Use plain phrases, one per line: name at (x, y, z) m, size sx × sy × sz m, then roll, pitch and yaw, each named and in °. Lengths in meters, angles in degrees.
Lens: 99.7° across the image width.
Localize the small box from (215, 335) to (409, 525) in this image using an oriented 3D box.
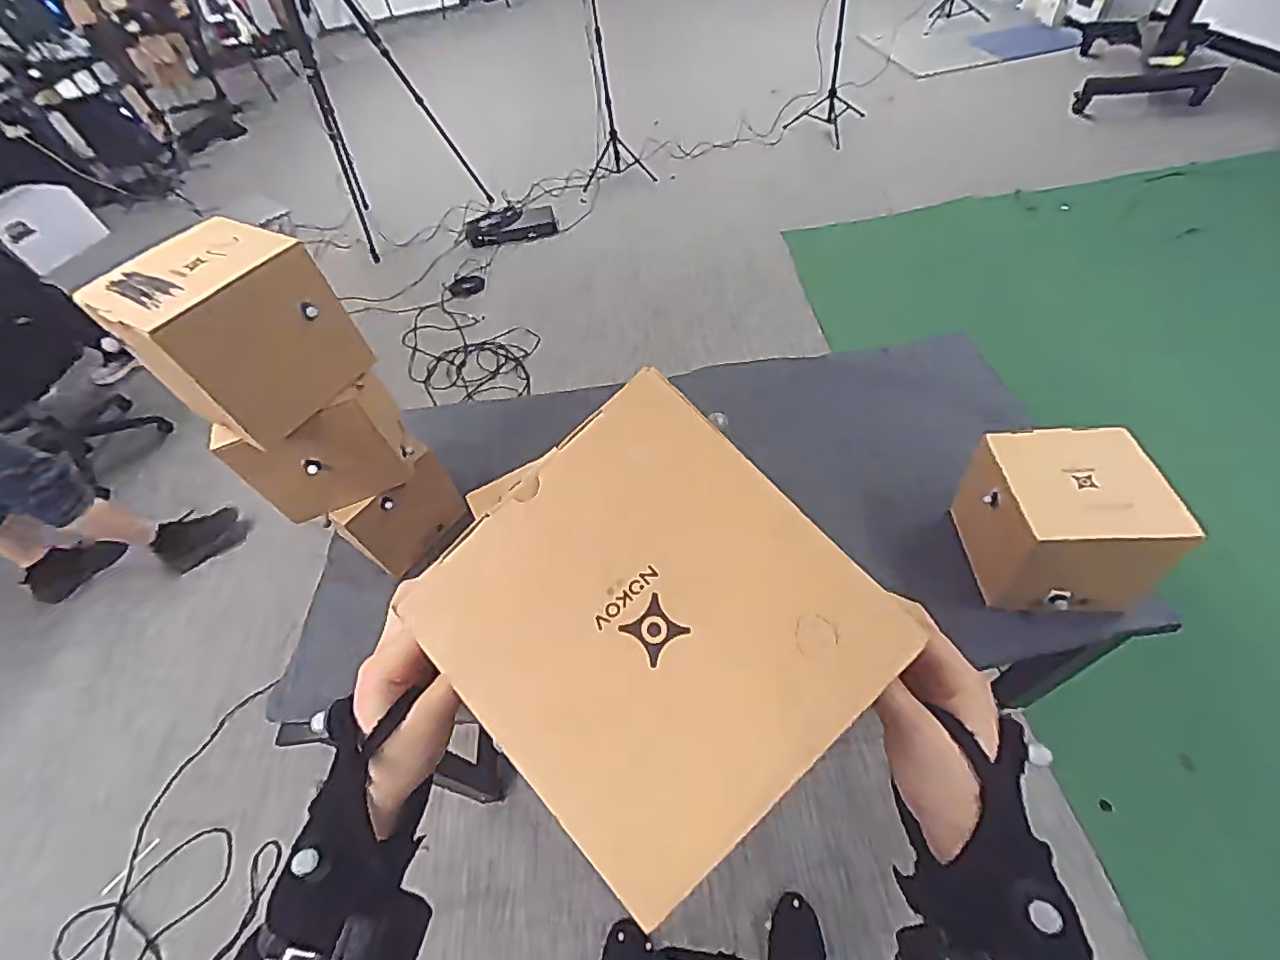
small box at (-0.447, -0.067, 0.764) m, size 0.179 × 0.176 × 0.168 m, roll -23°, pitch 53°, yaw -8°

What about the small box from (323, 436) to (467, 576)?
small box at (-0.425, 0.030, 0.895) m, size 0.179 × 0.176 × 0.168 m, roll 26°, pitch 61°, yaw 26°

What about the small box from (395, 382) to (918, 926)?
small box at (0.010, 0.080, 0.315) m, size 0.168 × 0.176 × 0.179 m, roll -44°, pitch 76°, yaw -4°

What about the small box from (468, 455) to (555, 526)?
small box at (-0.121, 0.095, 0.789) m, size 0.168 × 0.176 × 0.179 m, roll -28°, pitch 52°, yaw -13°

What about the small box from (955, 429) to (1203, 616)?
small box at (0.534, 0.056, 0.698) m, size 0.168 × 0.176 × 0.179 m, roll -3°, pitch 48°, yaw 10°
